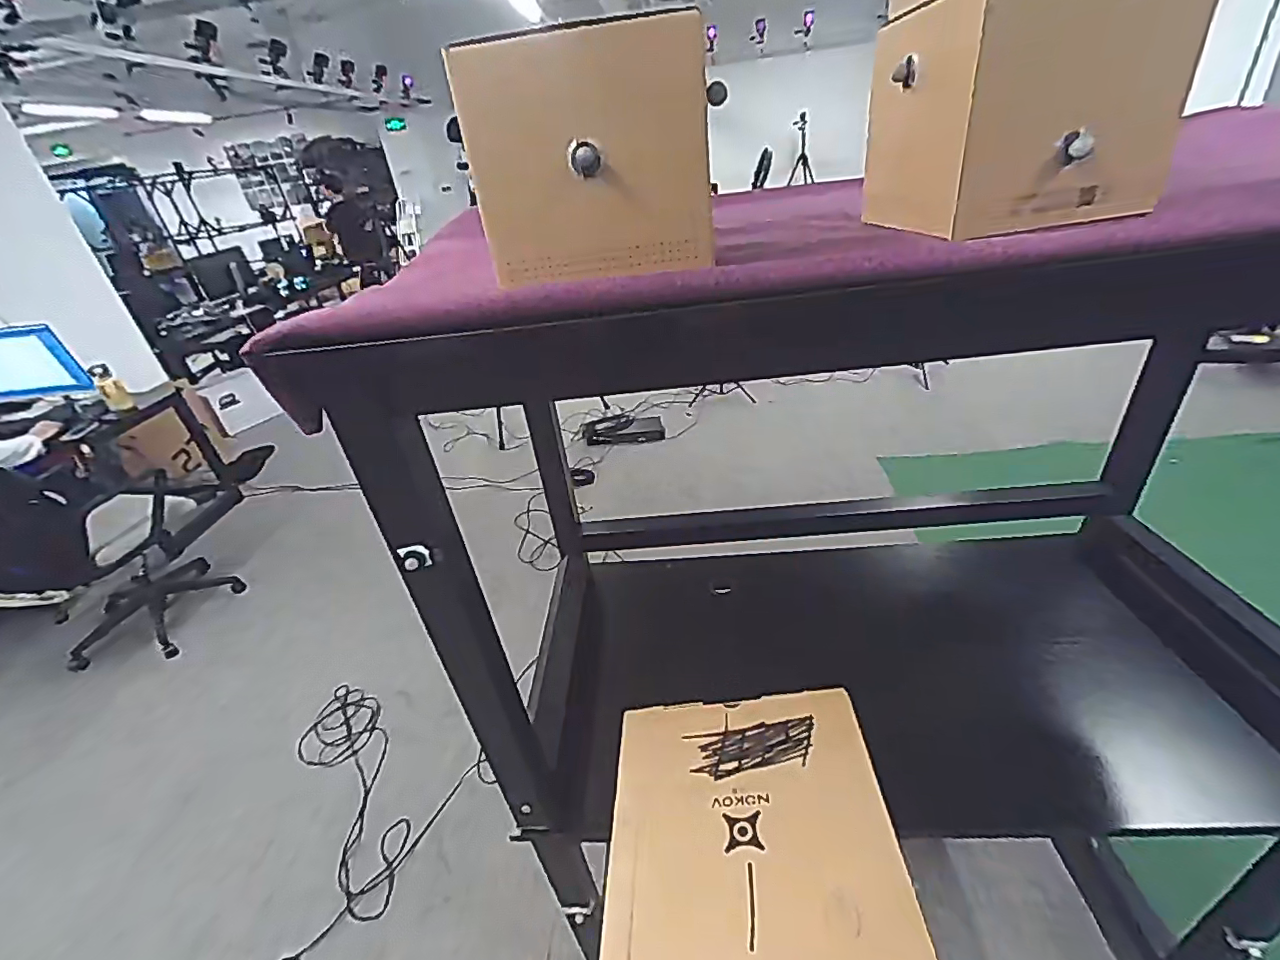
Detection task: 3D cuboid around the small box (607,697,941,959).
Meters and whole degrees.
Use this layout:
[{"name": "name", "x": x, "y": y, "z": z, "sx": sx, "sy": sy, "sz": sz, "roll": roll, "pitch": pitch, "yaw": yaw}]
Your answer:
[{"name": "small box", "x": 0.084, "y": 0.277, "z": 0.358, "sx": 0.168, "sy": 0.176, "sz": 0.179, "roll": -10, "pitch": 27, "yaw": 9}]
